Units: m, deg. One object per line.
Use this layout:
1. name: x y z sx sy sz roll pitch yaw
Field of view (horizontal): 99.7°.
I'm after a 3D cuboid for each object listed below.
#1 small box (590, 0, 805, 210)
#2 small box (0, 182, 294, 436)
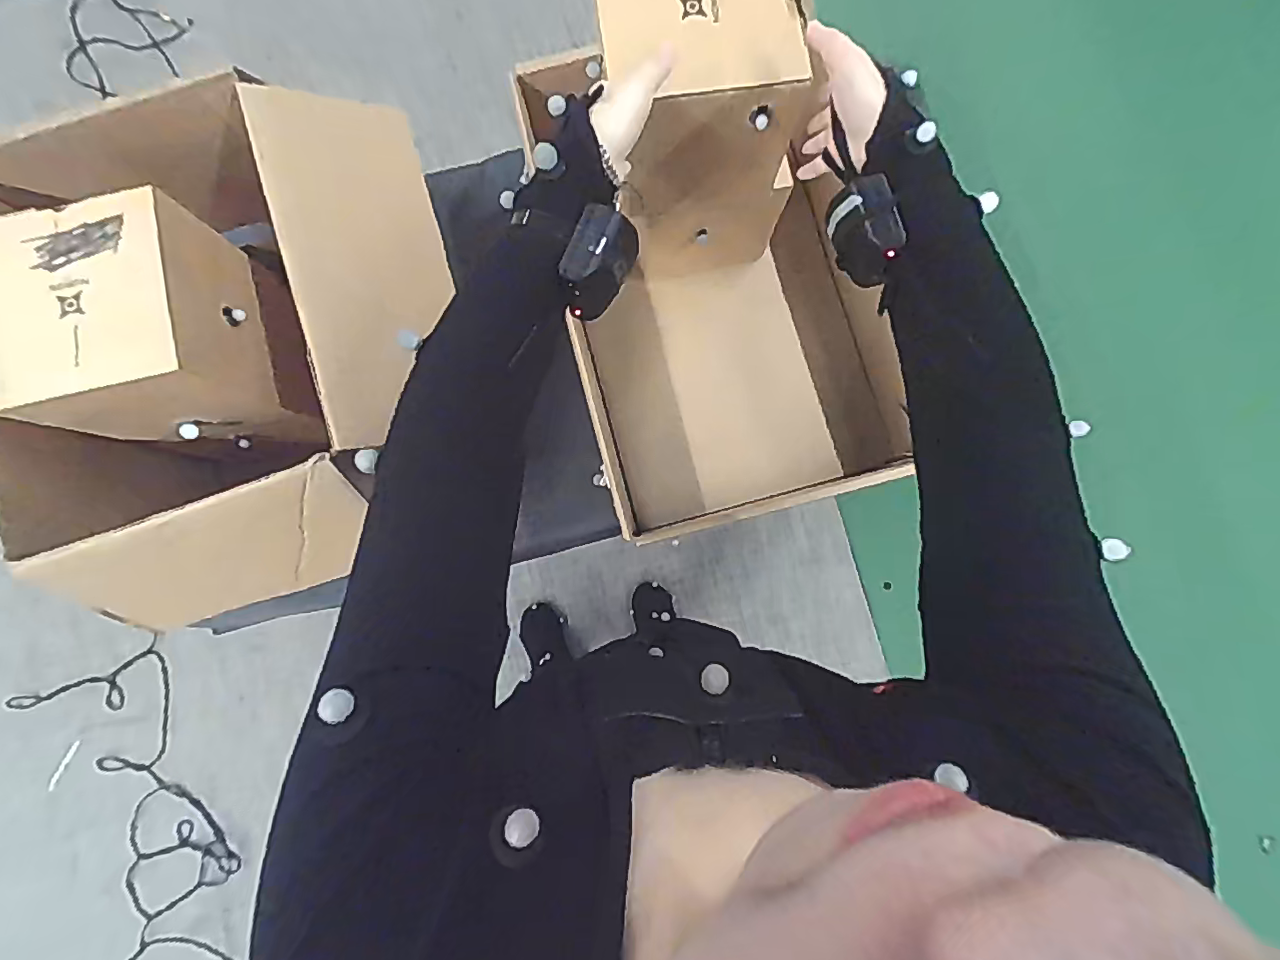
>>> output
1. small box: 0.047 -0.402 0.551 0.179 0.176 0.168 -8 85 -1
2. small box: -0.489 -0.156 0.544 0.168 0.176 0.179 -13 86 -2
